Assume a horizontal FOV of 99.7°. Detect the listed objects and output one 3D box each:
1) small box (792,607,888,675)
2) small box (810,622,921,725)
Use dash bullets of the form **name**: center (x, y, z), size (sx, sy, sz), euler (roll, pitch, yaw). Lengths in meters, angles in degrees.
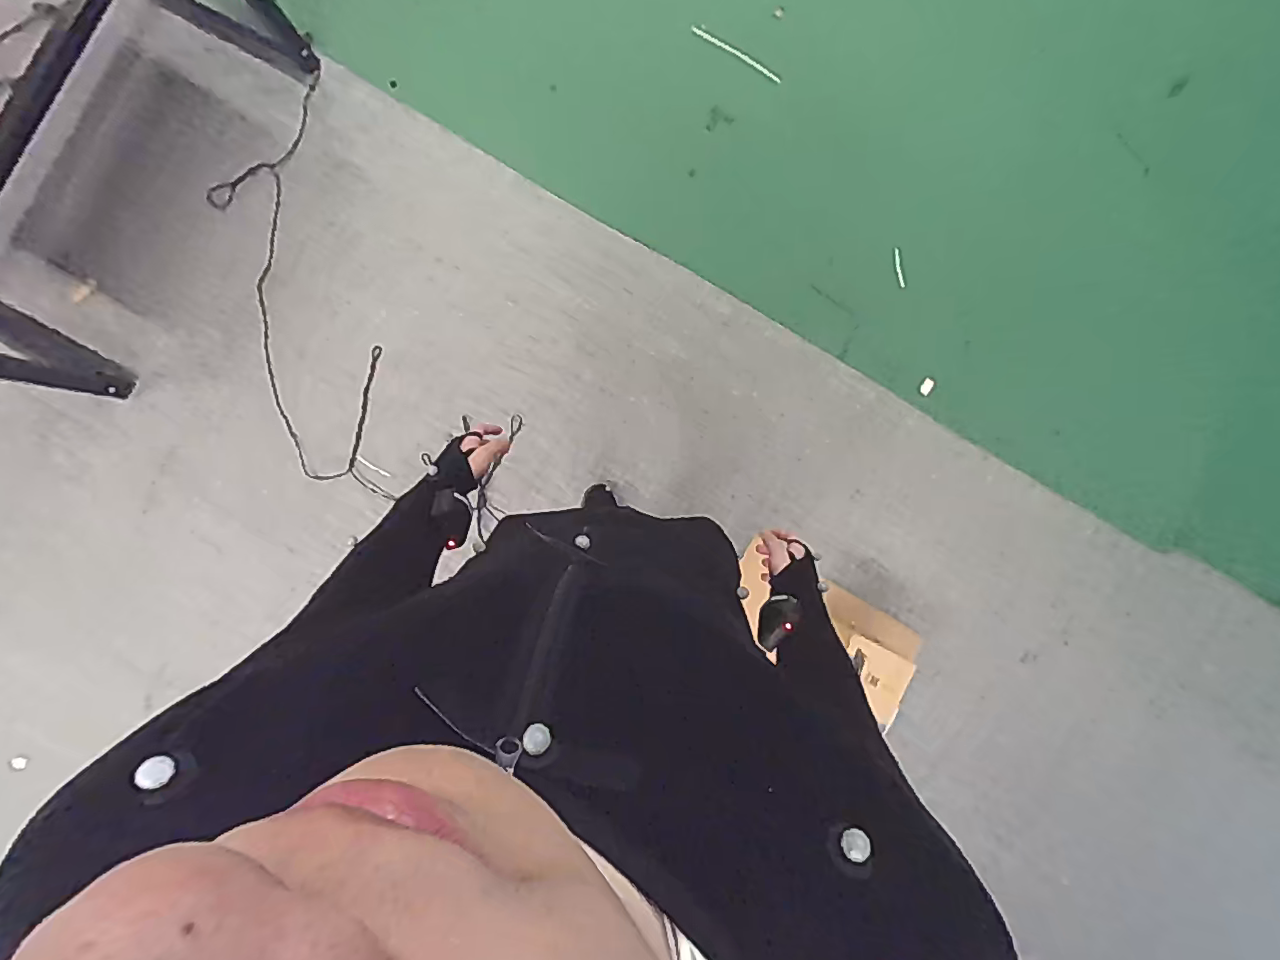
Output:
- **small box**: center (0.562, 0.482, 1.544), size (0.179, 0.176, 0.168), euler (24, 90, 0)
- **small box**: center (0.563, 0.481, 1.380), size (0.179, 0.176, 0.168), euler (27, 89, -1)
